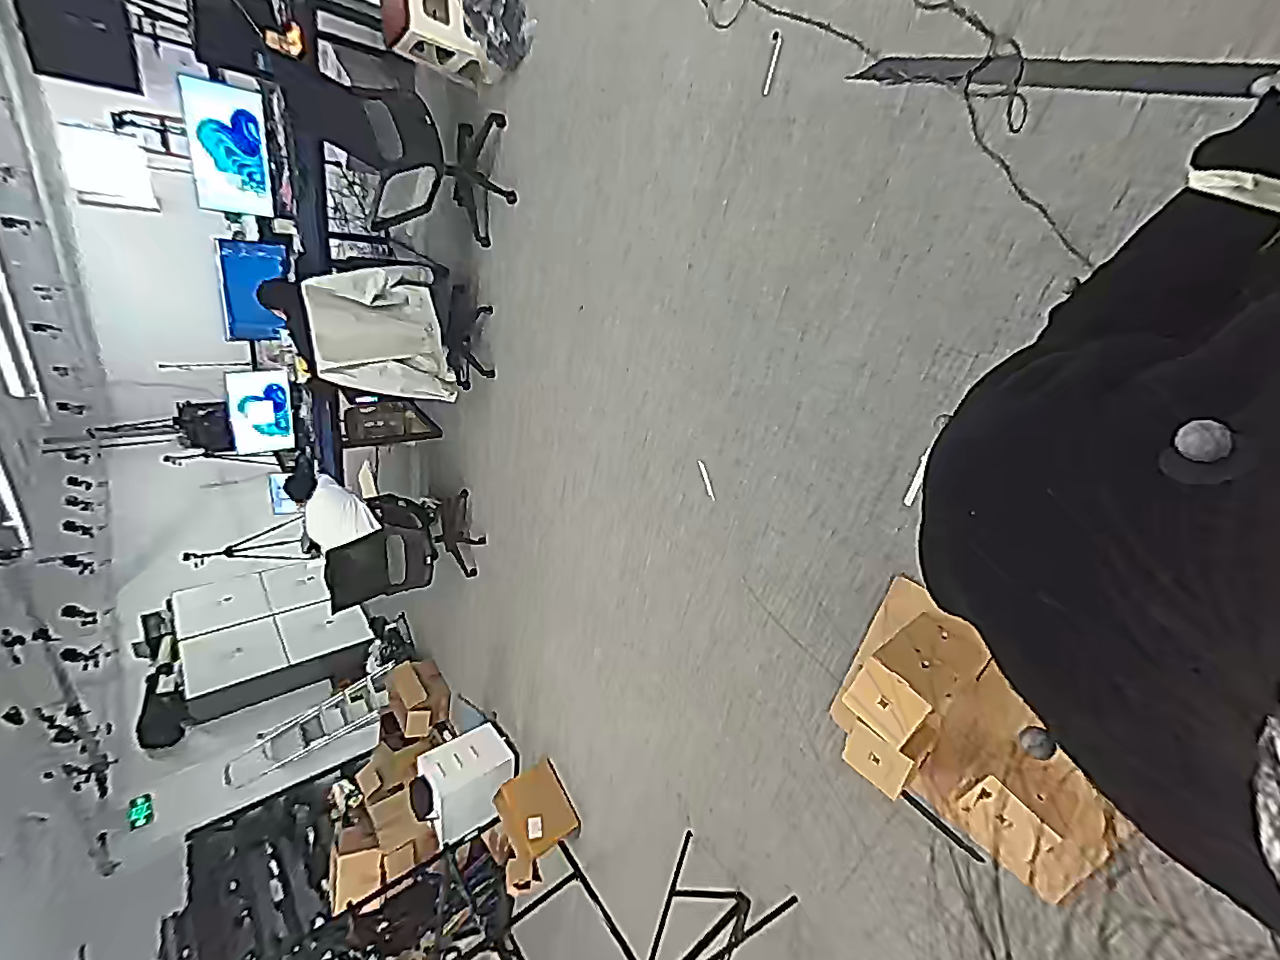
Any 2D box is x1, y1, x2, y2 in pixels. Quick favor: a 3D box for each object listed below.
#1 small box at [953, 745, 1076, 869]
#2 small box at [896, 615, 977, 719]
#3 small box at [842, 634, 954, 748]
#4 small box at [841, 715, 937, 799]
[{"bbox_3d":[0.936,0.808,1.350,0.179,0.176,0.168,44,129,32],"label":"small box"},{"bbox_3d":[0.774,0.499,1.463,0.168,0.176,0.179,36,124,38],"label":"small box"},{"bbox_3d":[0.651,0.524,1.359,0.168,0.176,0.179,40,126,36],"label":"small box"},{"bbox_3d":[0.731,0.778,1.588,0.179,0.176,0.168,31,123,41],"label":"small box"}]
